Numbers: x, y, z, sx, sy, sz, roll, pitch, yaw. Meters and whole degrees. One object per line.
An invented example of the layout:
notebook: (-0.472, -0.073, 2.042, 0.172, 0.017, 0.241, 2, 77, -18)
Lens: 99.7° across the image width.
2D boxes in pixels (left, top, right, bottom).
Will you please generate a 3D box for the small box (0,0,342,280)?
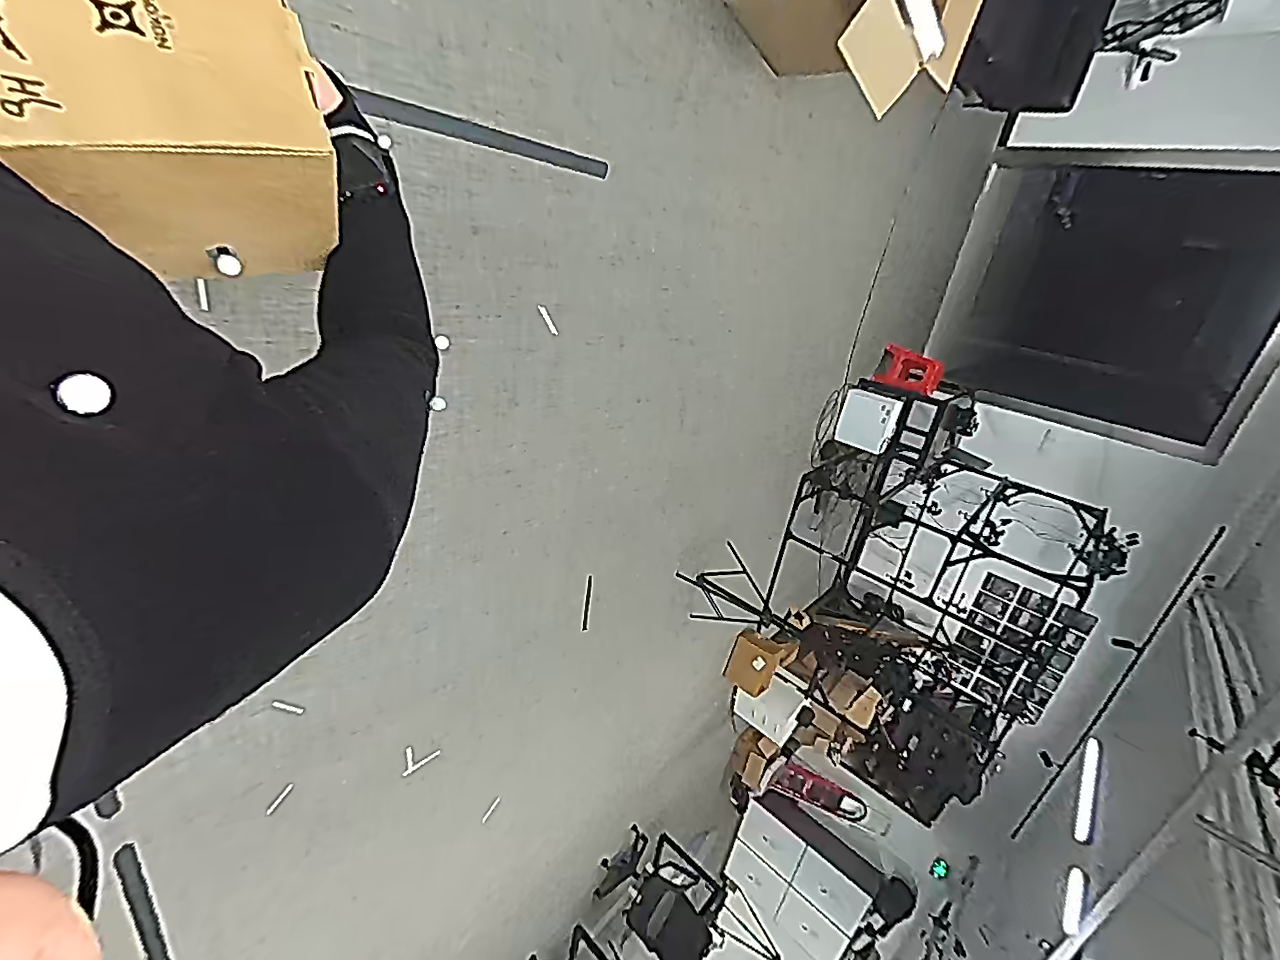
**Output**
small box: (-0.351, -0.273, 0.418, 0.179, 0.176, 0.168, -18, 90, -30)
